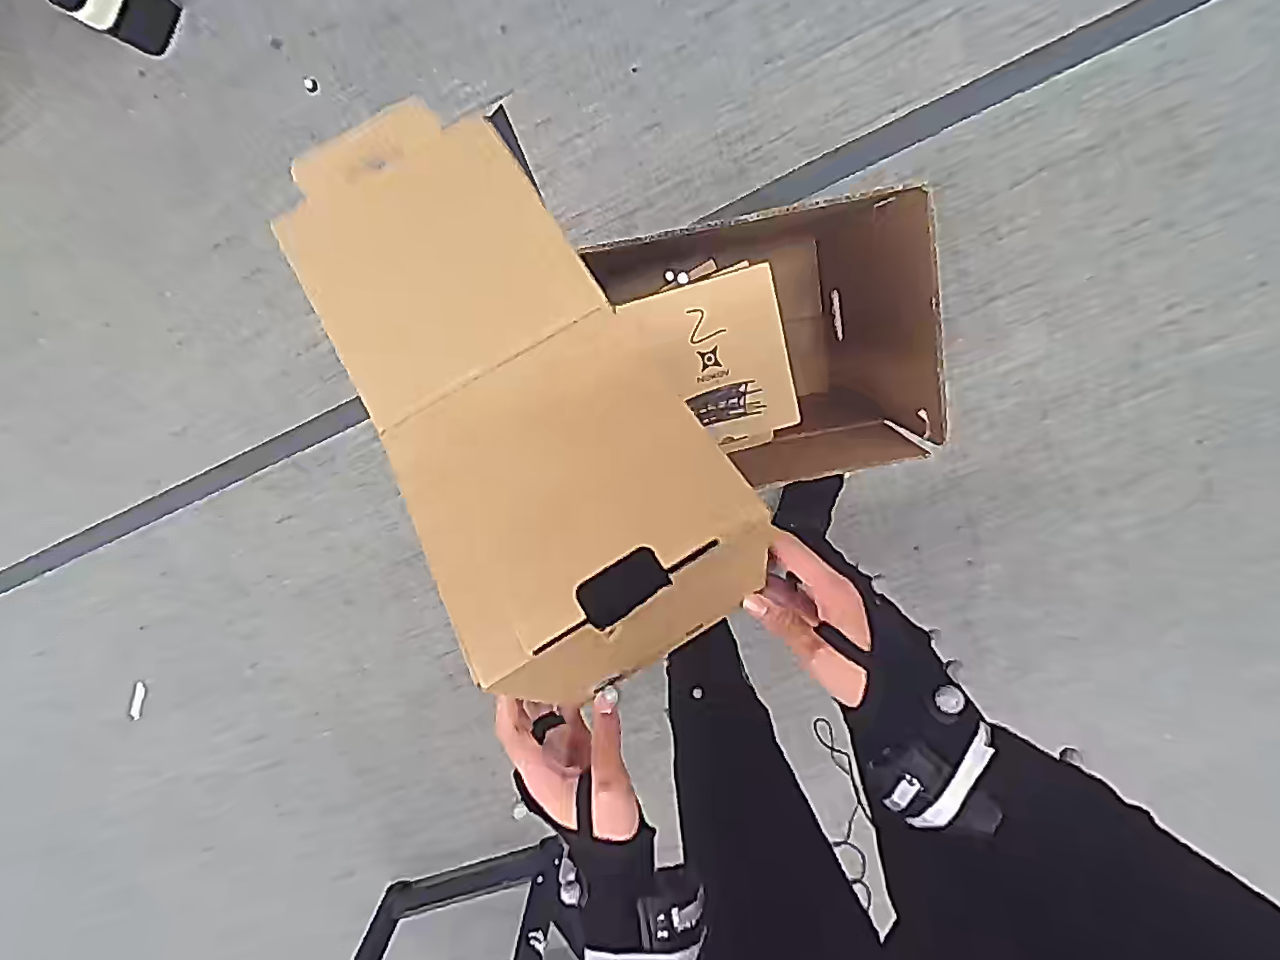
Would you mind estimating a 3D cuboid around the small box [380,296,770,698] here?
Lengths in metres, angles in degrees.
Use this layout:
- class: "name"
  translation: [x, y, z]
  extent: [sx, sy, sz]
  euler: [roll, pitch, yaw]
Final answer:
- class: "small box"
  translation: [-0.030, 0.025, 0.358]
  extent: [0.168, 0.176, 0.179]
  euler: [-30, 62, -4]
